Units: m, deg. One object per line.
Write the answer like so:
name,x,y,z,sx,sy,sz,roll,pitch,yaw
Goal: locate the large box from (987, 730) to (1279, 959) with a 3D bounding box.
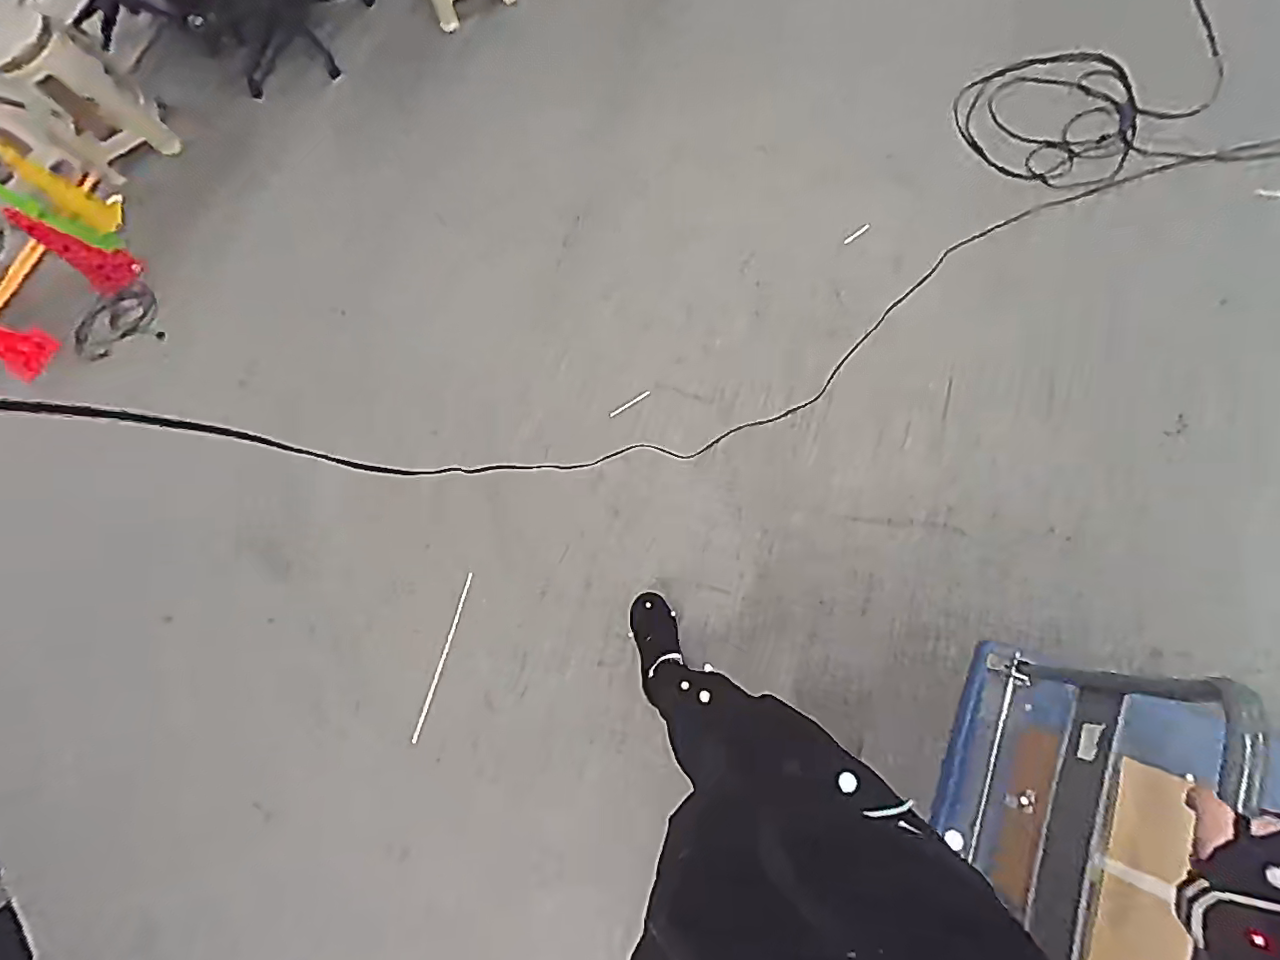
large box,0.887,0.669,0.911,0.408,0.320,0.320,18,78,14
